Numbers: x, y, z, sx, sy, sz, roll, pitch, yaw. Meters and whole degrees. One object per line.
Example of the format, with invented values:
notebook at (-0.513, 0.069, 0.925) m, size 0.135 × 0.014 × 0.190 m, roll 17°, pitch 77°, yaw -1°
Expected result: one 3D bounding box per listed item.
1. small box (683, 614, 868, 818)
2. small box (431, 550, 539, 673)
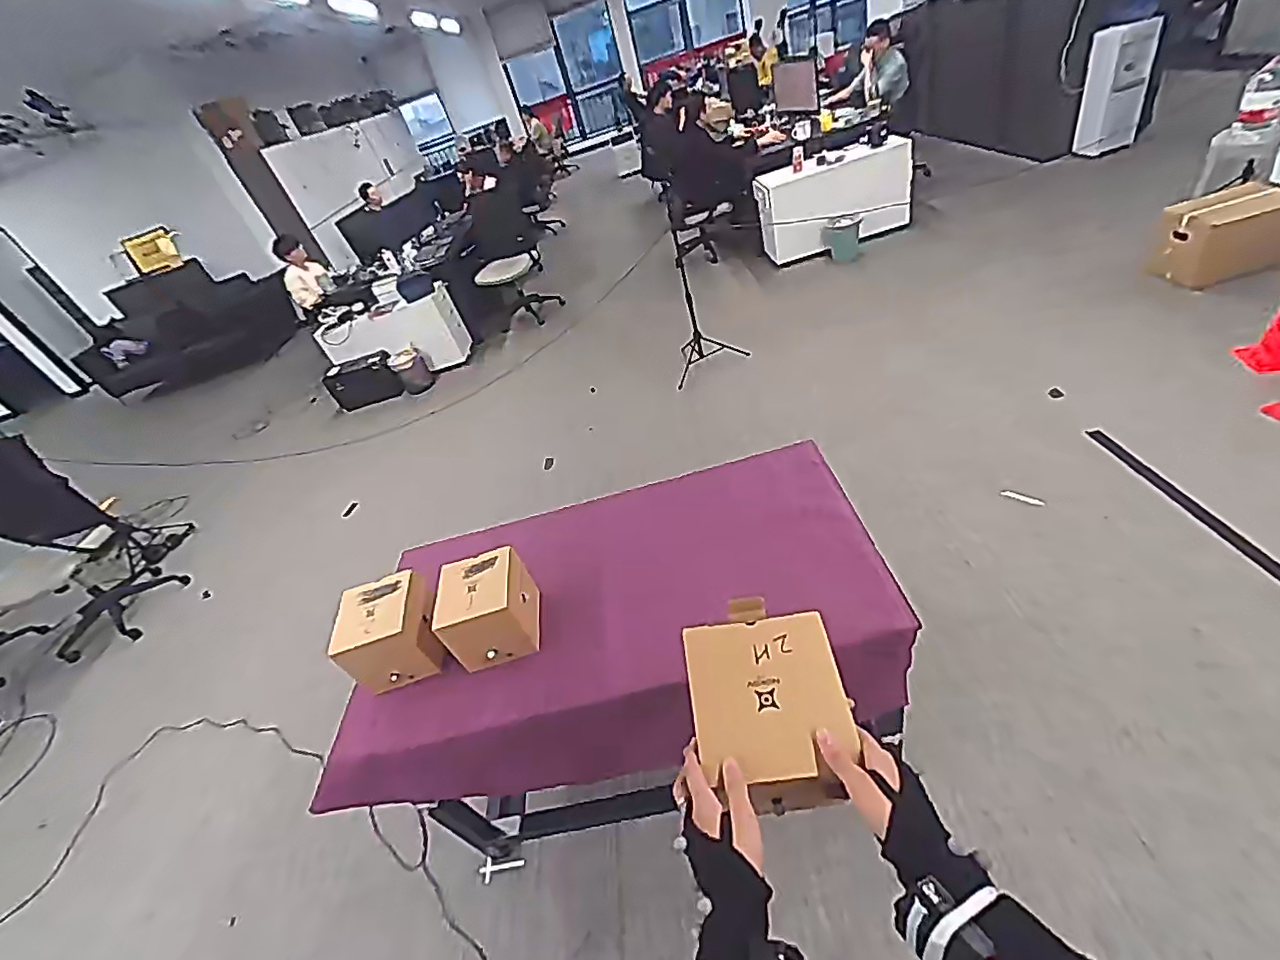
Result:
small box at (0.149, 0.285, 0.639) m, size 0.168 × 0.176 × 0.179 m, roll -9°, pitch 48°, yaw 4°
small box at (-0.329, 0.289, 1.188) m, size 0.168 × 0.176 × 0.179 m, roll -18°, pitch 39°, yaw 4°
